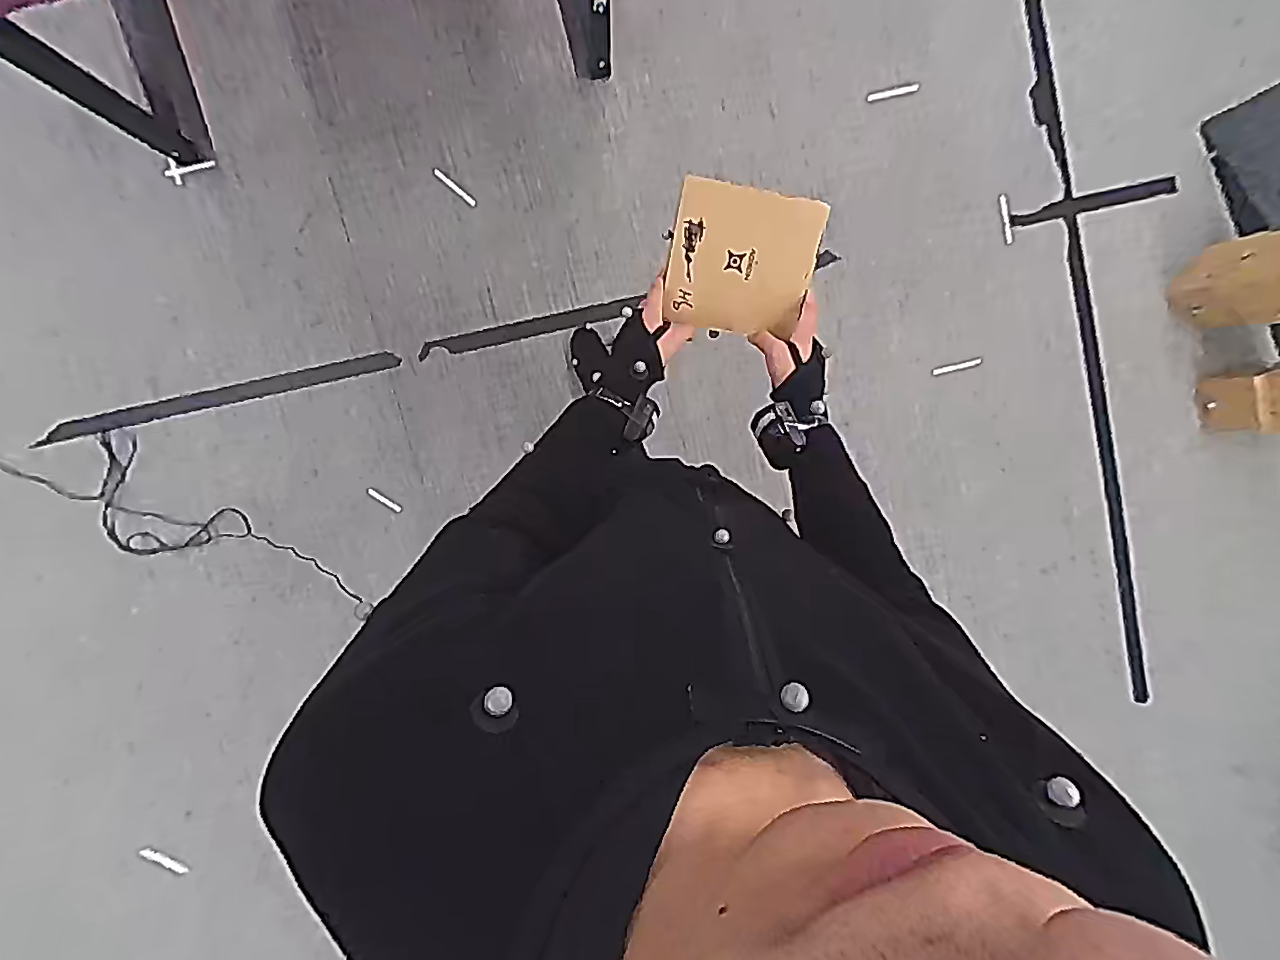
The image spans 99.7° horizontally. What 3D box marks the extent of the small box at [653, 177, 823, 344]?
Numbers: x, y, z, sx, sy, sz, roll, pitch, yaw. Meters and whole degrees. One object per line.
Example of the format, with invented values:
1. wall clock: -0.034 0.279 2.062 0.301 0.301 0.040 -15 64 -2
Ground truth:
1. small box: 0.119 -0.295 0.741 0.179 0.176 0.168 11 110 -3
